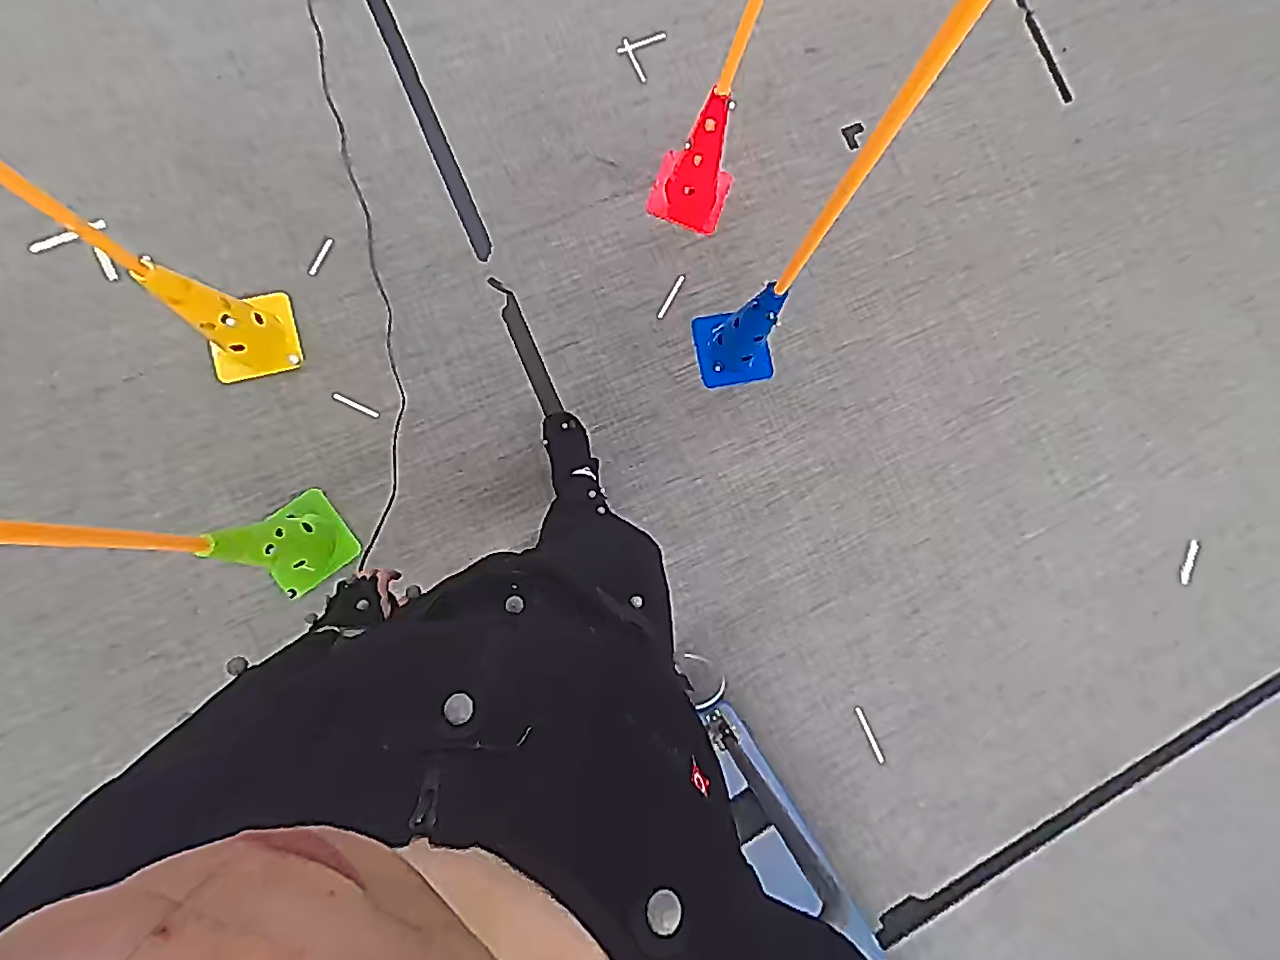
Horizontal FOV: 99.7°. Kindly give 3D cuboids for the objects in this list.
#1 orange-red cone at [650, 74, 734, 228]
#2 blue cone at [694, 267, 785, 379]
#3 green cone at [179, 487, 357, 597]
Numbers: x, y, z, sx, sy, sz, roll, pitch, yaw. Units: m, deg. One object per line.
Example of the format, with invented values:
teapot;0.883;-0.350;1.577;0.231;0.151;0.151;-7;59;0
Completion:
orange-red cone;0.159;-0.818;1.310;0.198;0.360;0.199;21;83;-3
blue cone;0.265;-0.387;1.289;0.193;0.380;0.192;-9;84;-7
green cone;-0.784;0.124;1.105;0.200;0.368;0.202;-38;87;-9
